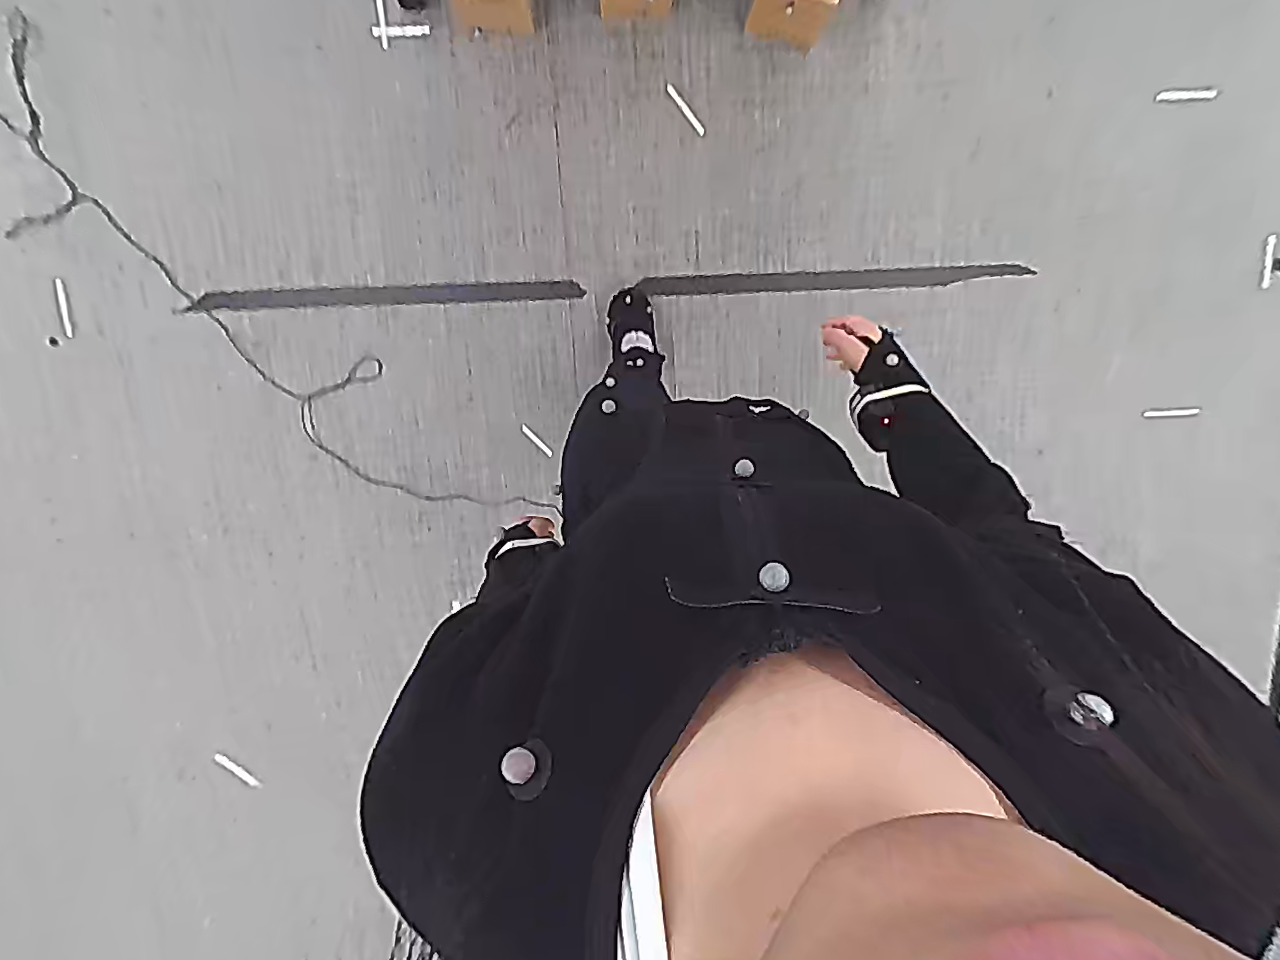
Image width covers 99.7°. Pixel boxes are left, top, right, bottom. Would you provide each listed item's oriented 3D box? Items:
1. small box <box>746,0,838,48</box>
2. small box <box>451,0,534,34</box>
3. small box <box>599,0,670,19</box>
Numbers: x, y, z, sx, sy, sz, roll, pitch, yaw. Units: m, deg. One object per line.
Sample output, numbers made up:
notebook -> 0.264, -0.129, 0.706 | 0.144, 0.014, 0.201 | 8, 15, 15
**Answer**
small box -> 0.357, -1.130, 1.224 | 0.179, 0.176, 0.168 | 13, 99, -3
small box -> -0.334, -1.131, 1.197 | 0.168, 0.176, 0.179 | -3, 98, -2
small box -> -0.013, -1.173, 1.204 | 0.168, 0.176, 0.179 | -2, 98, -2
